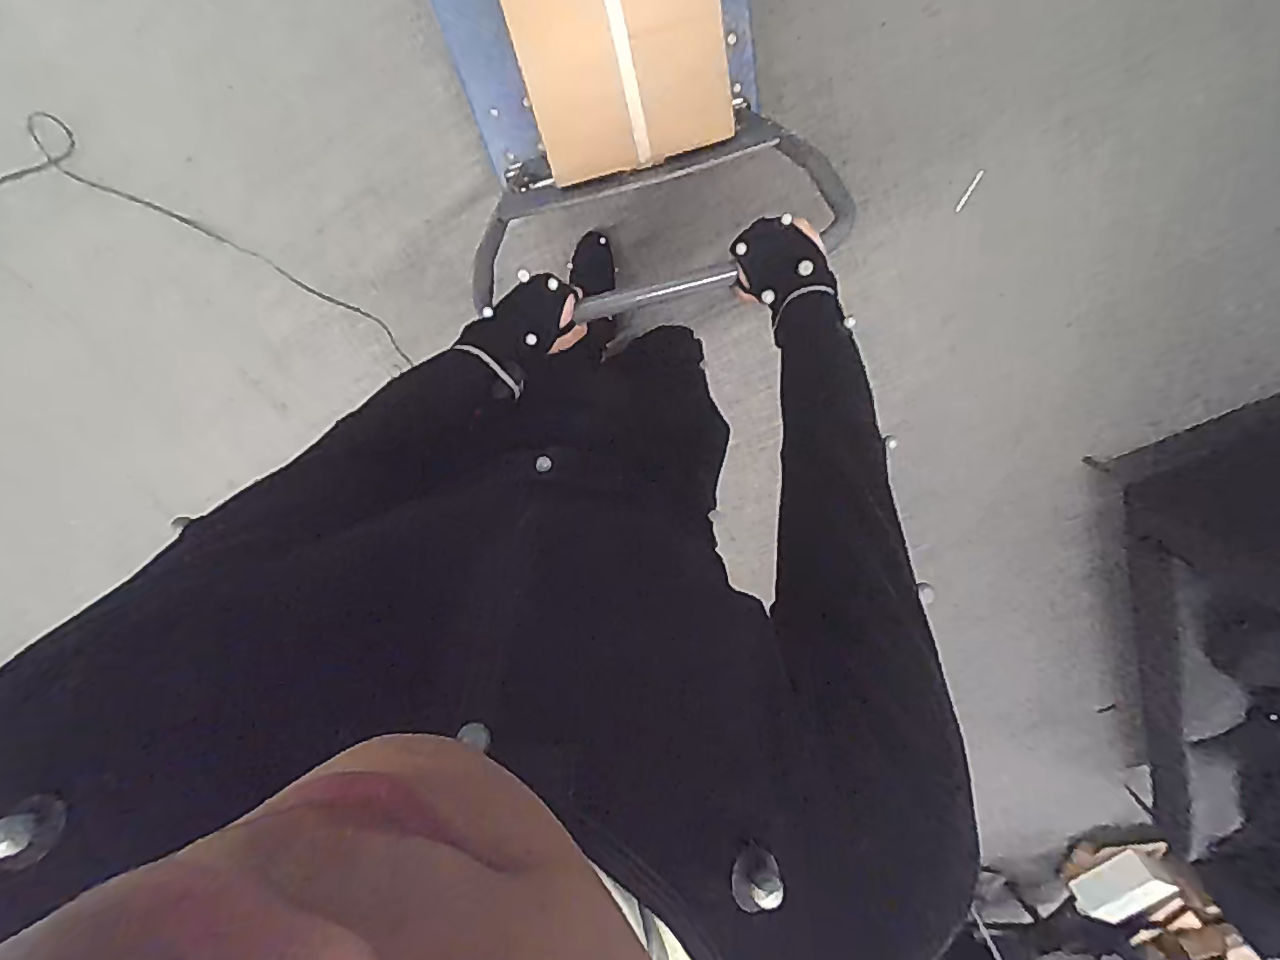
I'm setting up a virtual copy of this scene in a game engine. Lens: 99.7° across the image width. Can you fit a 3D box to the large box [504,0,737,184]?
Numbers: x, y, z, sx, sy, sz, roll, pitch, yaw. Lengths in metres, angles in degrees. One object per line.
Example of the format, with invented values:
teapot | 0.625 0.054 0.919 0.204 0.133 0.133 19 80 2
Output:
large box | -0.041 -0.778 0.912 0.320 0.320 0.408 -13 126 6
